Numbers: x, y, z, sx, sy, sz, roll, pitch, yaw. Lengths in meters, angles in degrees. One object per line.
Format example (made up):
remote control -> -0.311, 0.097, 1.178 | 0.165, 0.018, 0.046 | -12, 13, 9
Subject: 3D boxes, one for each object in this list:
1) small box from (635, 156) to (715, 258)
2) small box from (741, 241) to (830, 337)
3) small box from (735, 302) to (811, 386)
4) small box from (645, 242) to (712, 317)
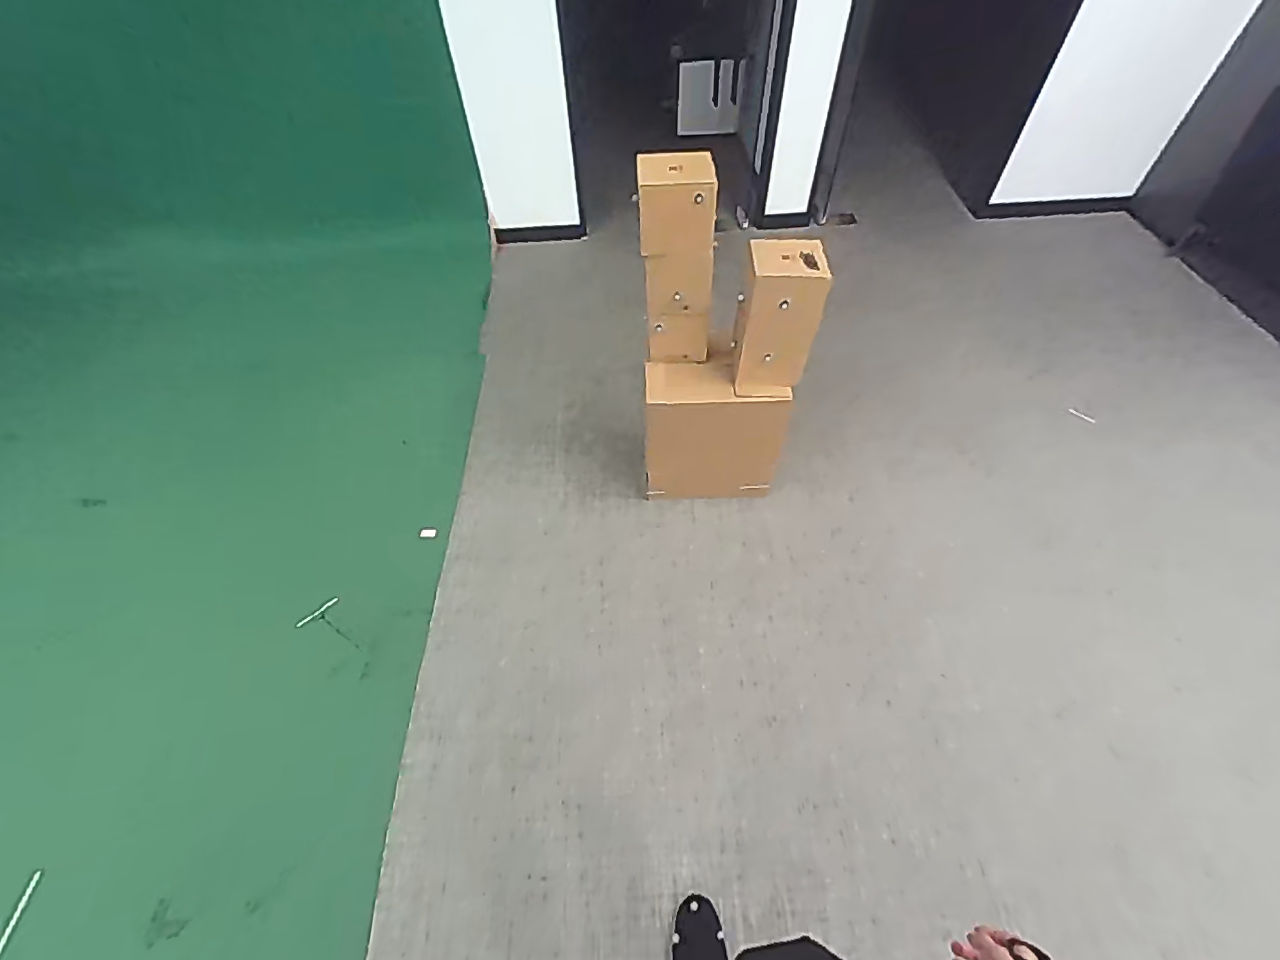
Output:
small box -> 0.082, -0.649, 1.295 | 0.179, 0.176, 0.168 | -3, 52, 1
small box -> 0.354, -0.472, 1.349 | 0.179, 0.176, 0.168 | 1, 53, 3
small box -> 0.354, -0.371, 1.478 | 0.179, 0.176, 0.168 | 0, 54, 3
small box -> 0.103, -0.552, 1.425 | 0.168, 0.176, 0.179 | 1, 52, 5
